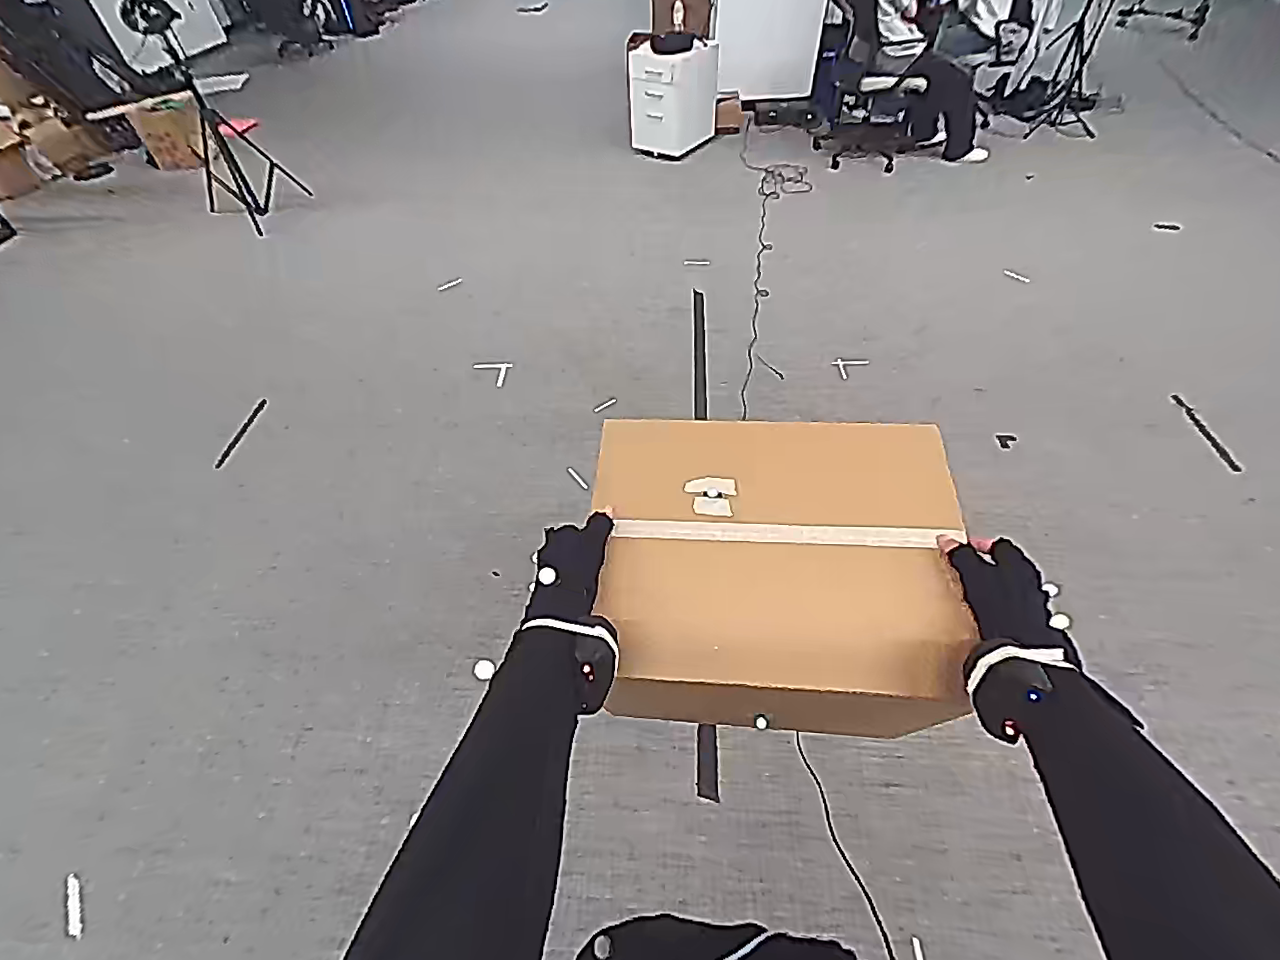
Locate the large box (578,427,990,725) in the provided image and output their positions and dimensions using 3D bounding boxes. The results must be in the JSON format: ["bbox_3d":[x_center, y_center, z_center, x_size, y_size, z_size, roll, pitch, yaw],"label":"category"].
[{"bbox_3d":[0.158,0.142,0.729,0.408,0.320,0.320,1,59,7],"label":"large box"}]
